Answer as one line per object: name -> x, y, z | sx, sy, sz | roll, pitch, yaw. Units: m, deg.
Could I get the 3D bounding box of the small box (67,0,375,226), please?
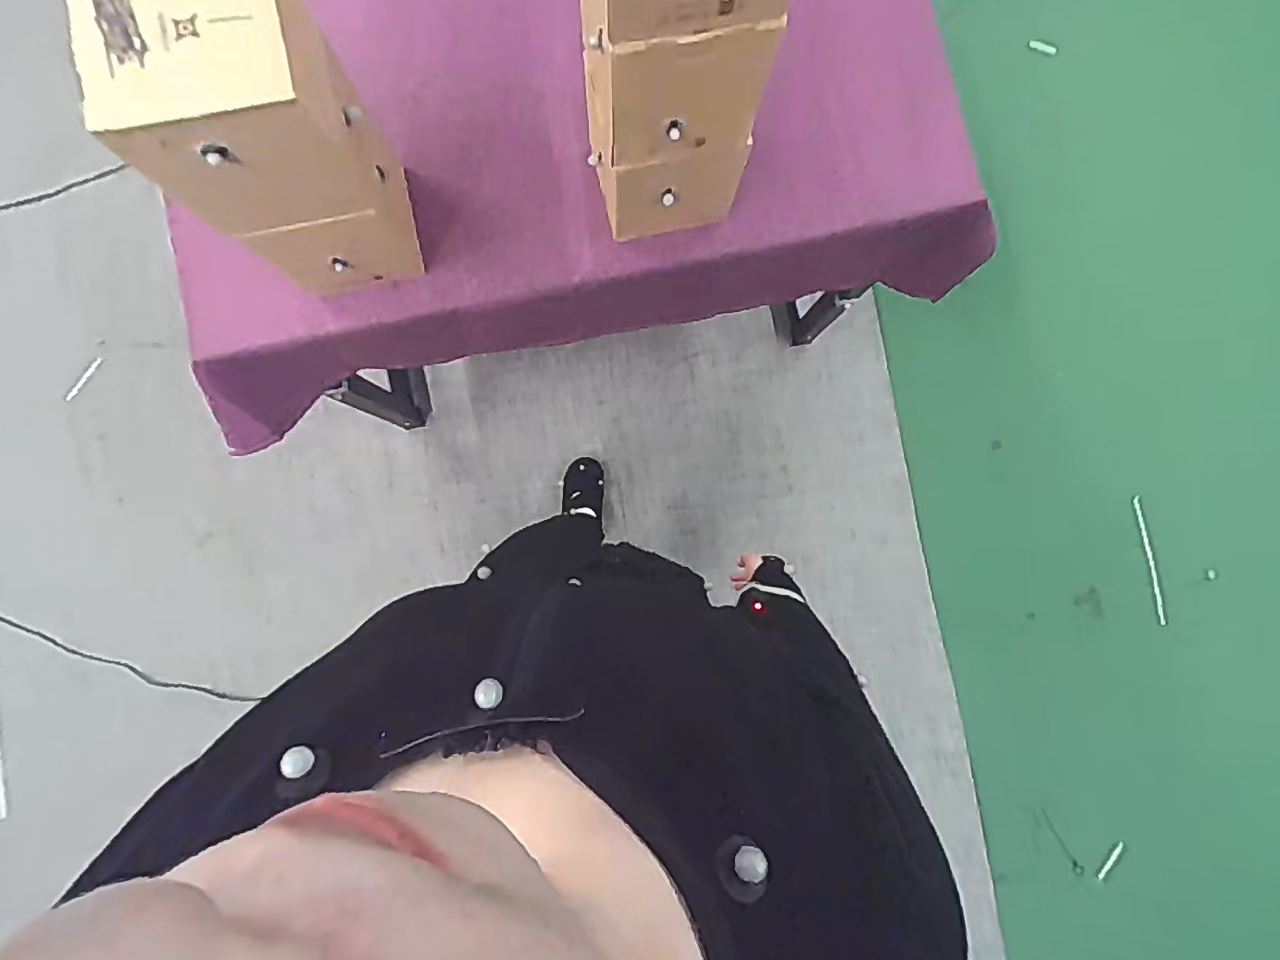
small box -> -0.401, -0.384, 0.544 | 0.179, 0.176, 0.168 | -13, 87, -4

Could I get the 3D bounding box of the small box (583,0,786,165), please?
small box -> 0.033, -0.477, 0.573 | 0.168, 0.176, 0.179 | -12, 87, -4

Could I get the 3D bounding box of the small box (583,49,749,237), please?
small box -> 0.030, -0.459, 0.735 | 0.179, 0.176, 0.168 | -13, 87, -3

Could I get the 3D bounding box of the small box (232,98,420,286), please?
small box -> -0.408, -0.373, 0.709 | 0.168, 0.176, 0.179 | -12, 86, -4
